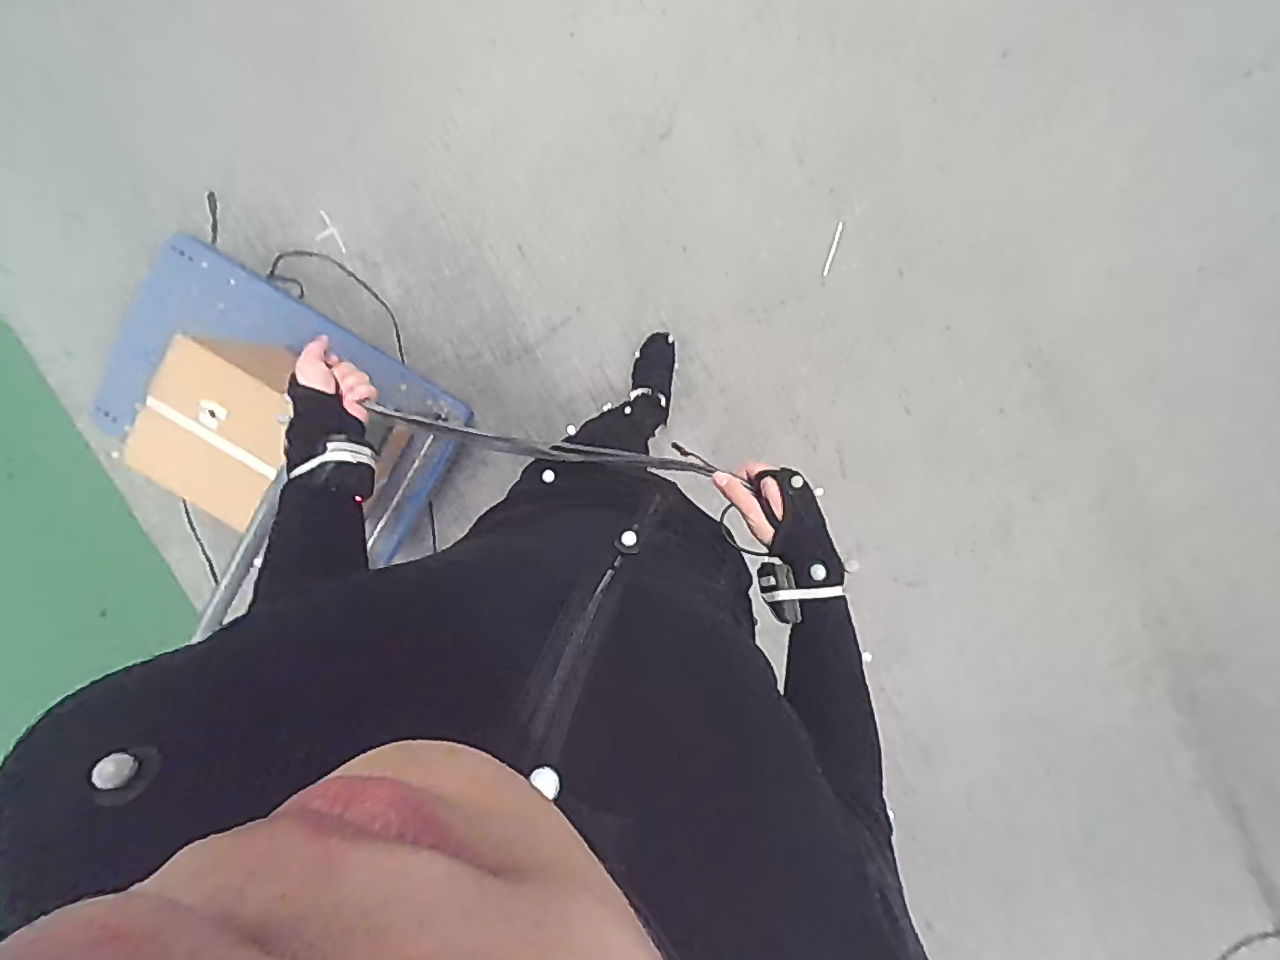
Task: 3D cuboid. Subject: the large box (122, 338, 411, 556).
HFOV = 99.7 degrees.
[{"bbox_3d":[-0.840,-0.084,1.272,0.408,0.320,0.320,32,97,-2],"label":"large box"}]
